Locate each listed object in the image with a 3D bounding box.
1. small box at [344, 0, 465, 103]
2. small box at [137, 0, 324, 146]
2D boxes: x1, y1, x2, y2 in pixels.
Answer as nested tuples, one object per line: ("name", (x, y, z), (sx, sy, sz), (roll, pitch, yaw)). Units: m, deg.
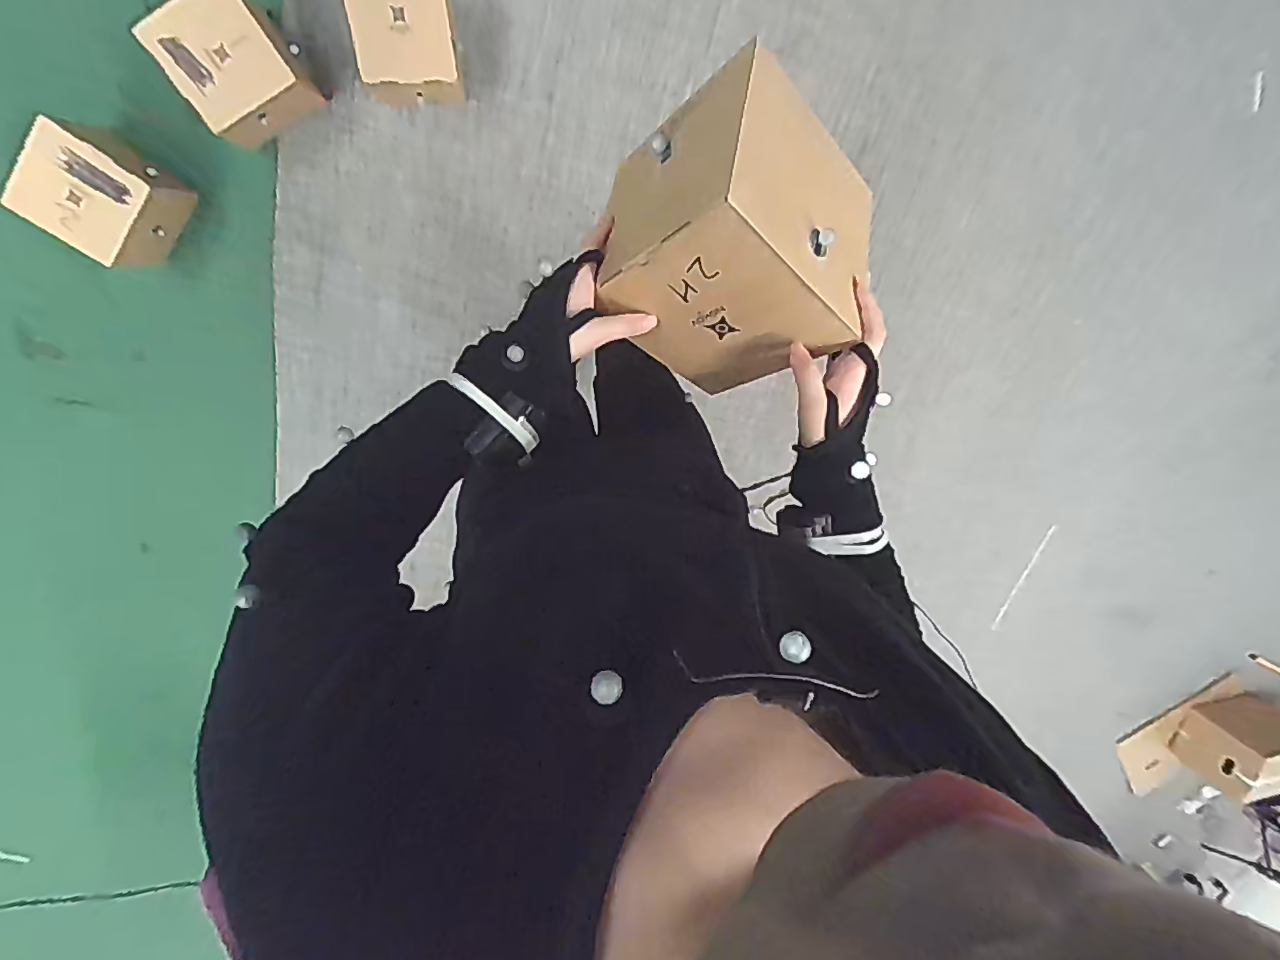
("small box", (-0.427, -0.813, 0.997), (0.168, 0.176, 0.179), (-7, 116, -9))
("small box", (-0.714, -0.733, 0.970), (0.179, 0.176, 0.168), (-31, 117, 2))
